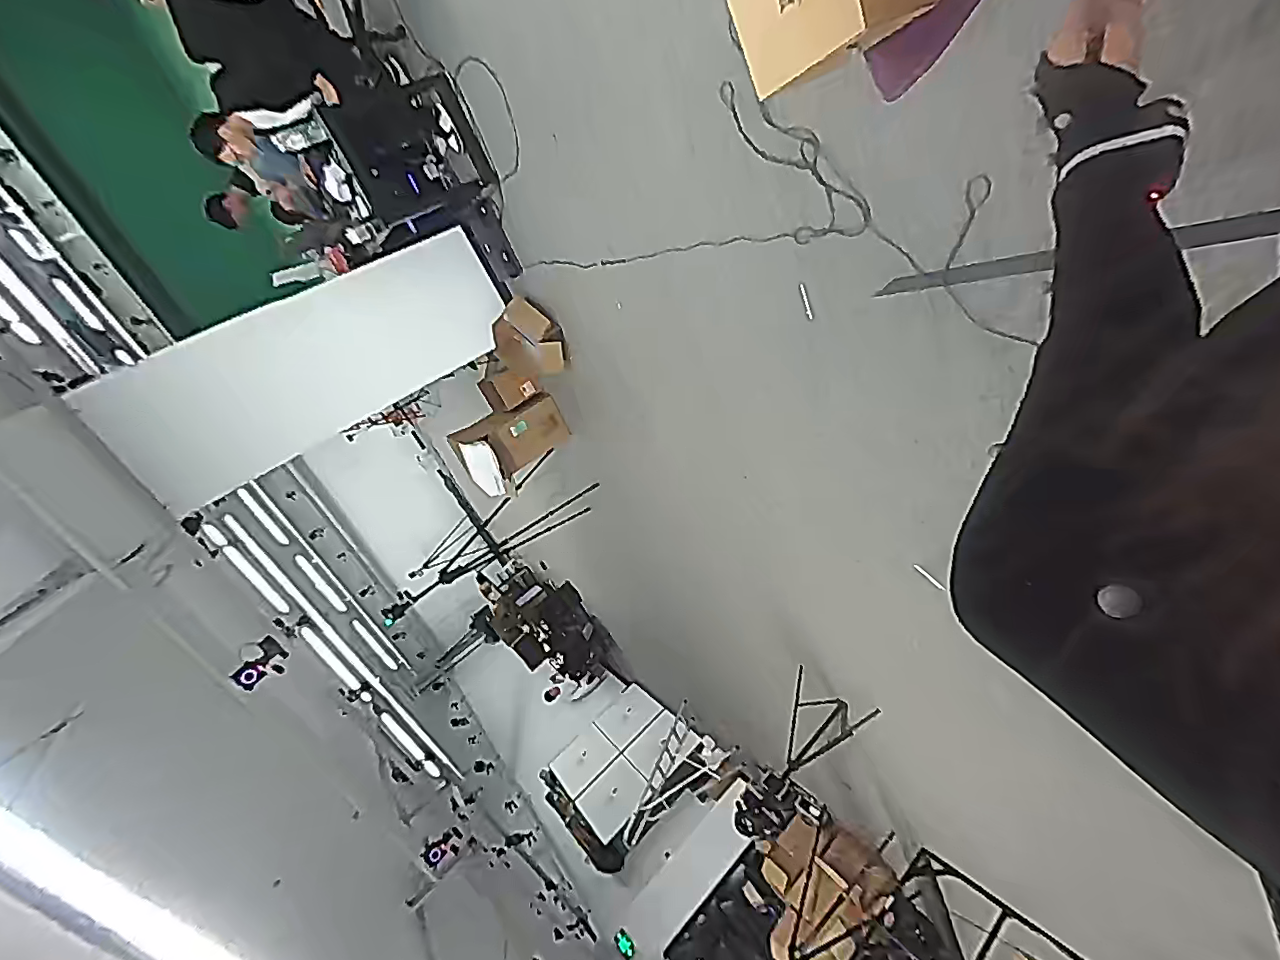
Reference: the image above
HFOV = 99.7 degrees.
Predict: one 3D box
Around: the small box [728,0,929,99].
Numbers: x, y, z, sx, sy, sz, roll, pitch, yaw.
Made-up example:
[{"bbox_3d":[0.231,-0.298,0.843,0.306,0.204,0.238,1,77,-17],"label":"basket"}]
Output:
[{"bbox_3d":[0.240,-0.637,0.695,0.179,0.176,0.168,9,131,57],"label":"small box"}]
